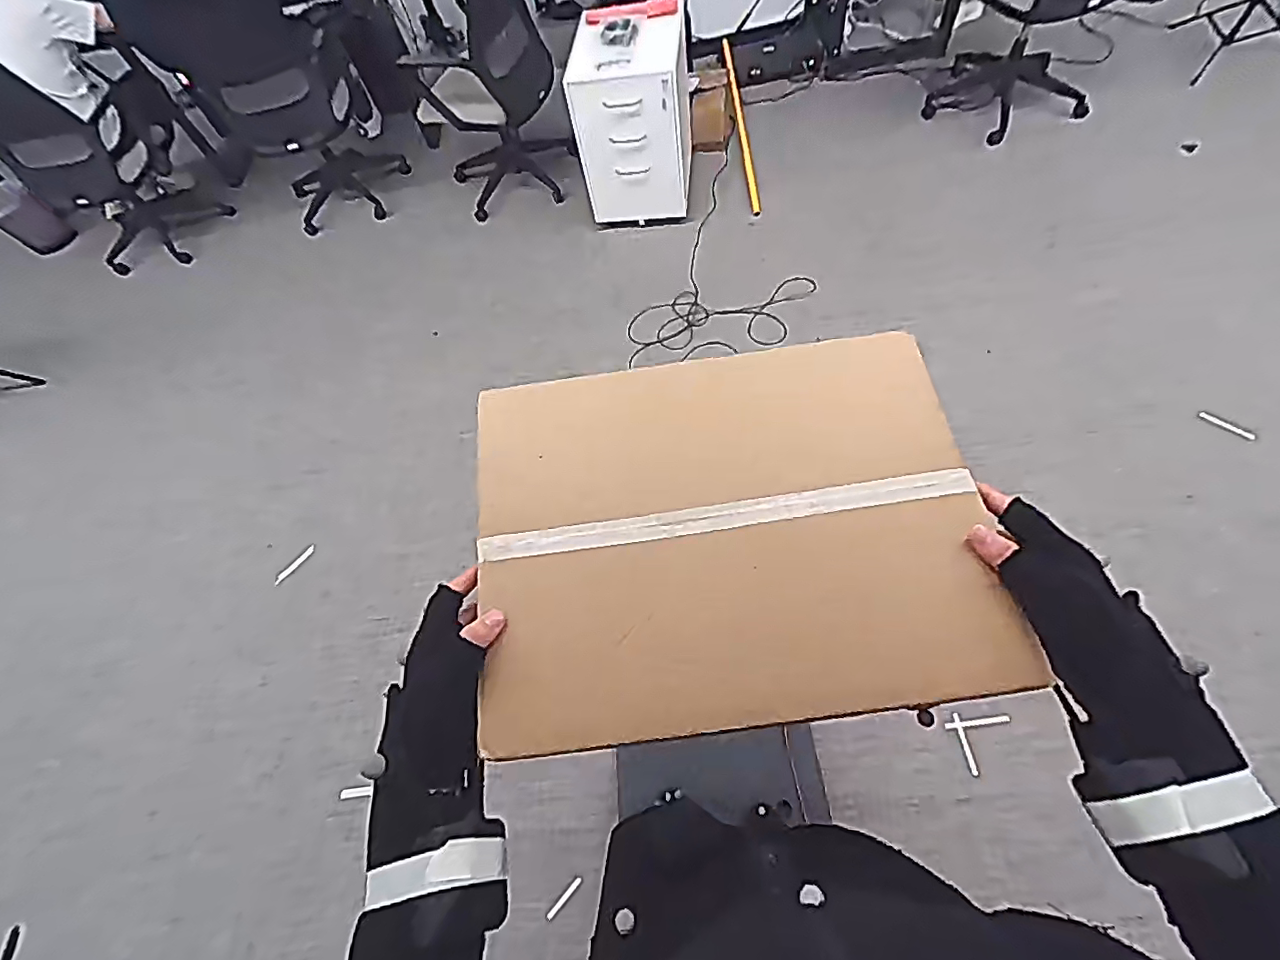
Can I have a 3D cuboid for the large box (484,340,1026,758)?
[{"bbox_3d":[0.079,0.092,0.588,0.408,0.320,0.320,-8,66,1],"label":"large box"}]
